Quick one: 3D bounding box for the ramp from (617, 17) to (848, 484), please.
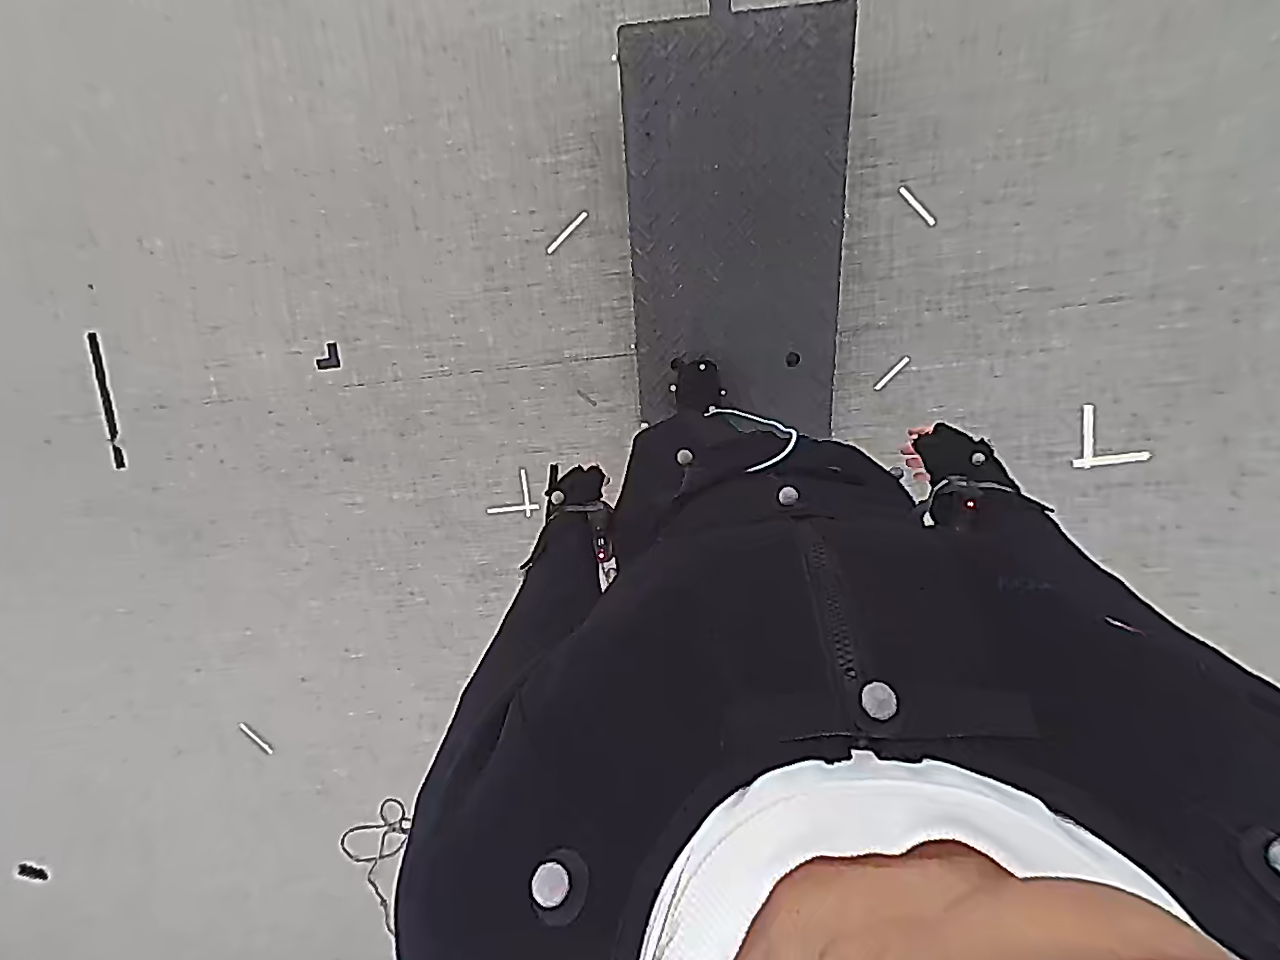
[{"bbox_3d":[0.237,-0.473,1.303,0.509,0.206,0.991,-5,99,6],"label":"ramp"}]
